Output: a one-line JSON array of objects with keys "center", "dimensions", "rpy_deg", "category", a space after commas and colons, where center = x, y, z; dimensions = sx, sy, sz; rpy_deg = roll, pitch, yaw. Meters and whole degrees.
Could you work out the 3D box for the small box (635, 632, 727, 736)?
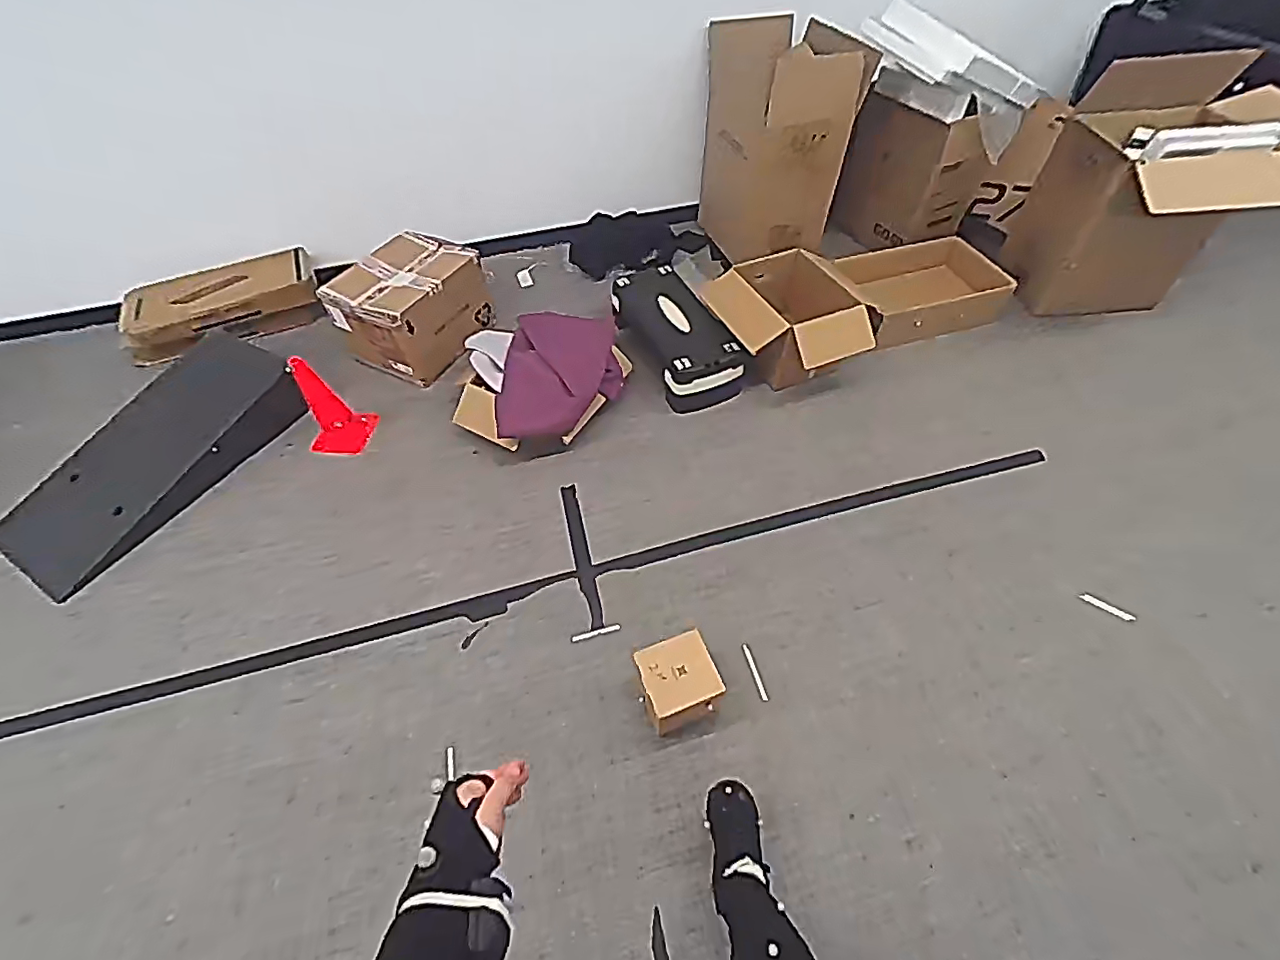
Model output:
[{"center": [0.096, 0.510, 1.346], "dimensions": [0.179, 0.176, 0.168], "rpy_deg": [-18, 54, -11], "category": "small box"}]
